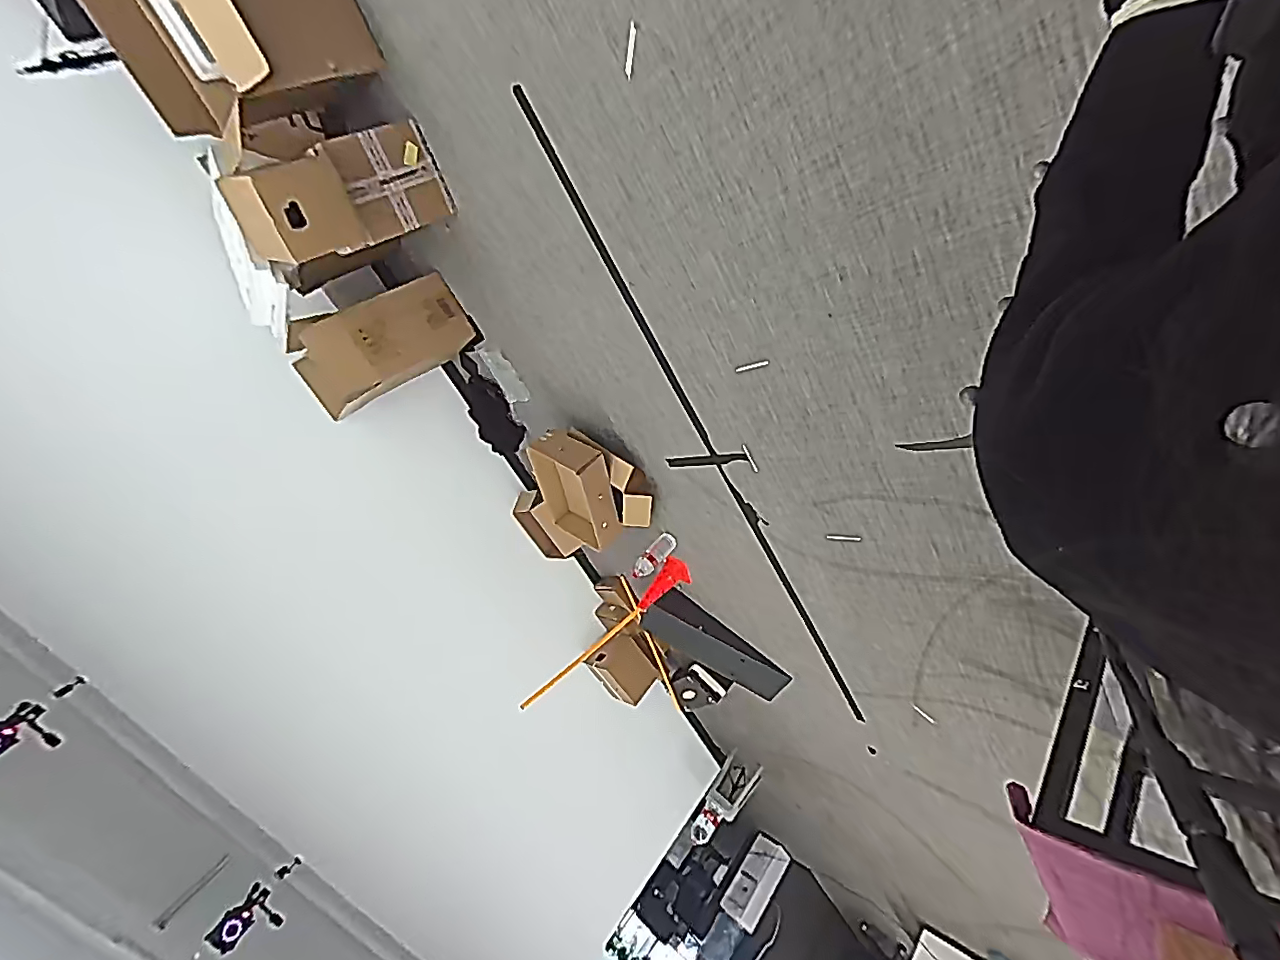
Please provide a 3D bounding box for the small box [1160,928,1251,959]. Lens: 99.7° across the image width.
[{"bbox_3d":[1.177,1.062,1.091,0.179,0.176,0.168,-1,126,52],"label":"small box"}]
